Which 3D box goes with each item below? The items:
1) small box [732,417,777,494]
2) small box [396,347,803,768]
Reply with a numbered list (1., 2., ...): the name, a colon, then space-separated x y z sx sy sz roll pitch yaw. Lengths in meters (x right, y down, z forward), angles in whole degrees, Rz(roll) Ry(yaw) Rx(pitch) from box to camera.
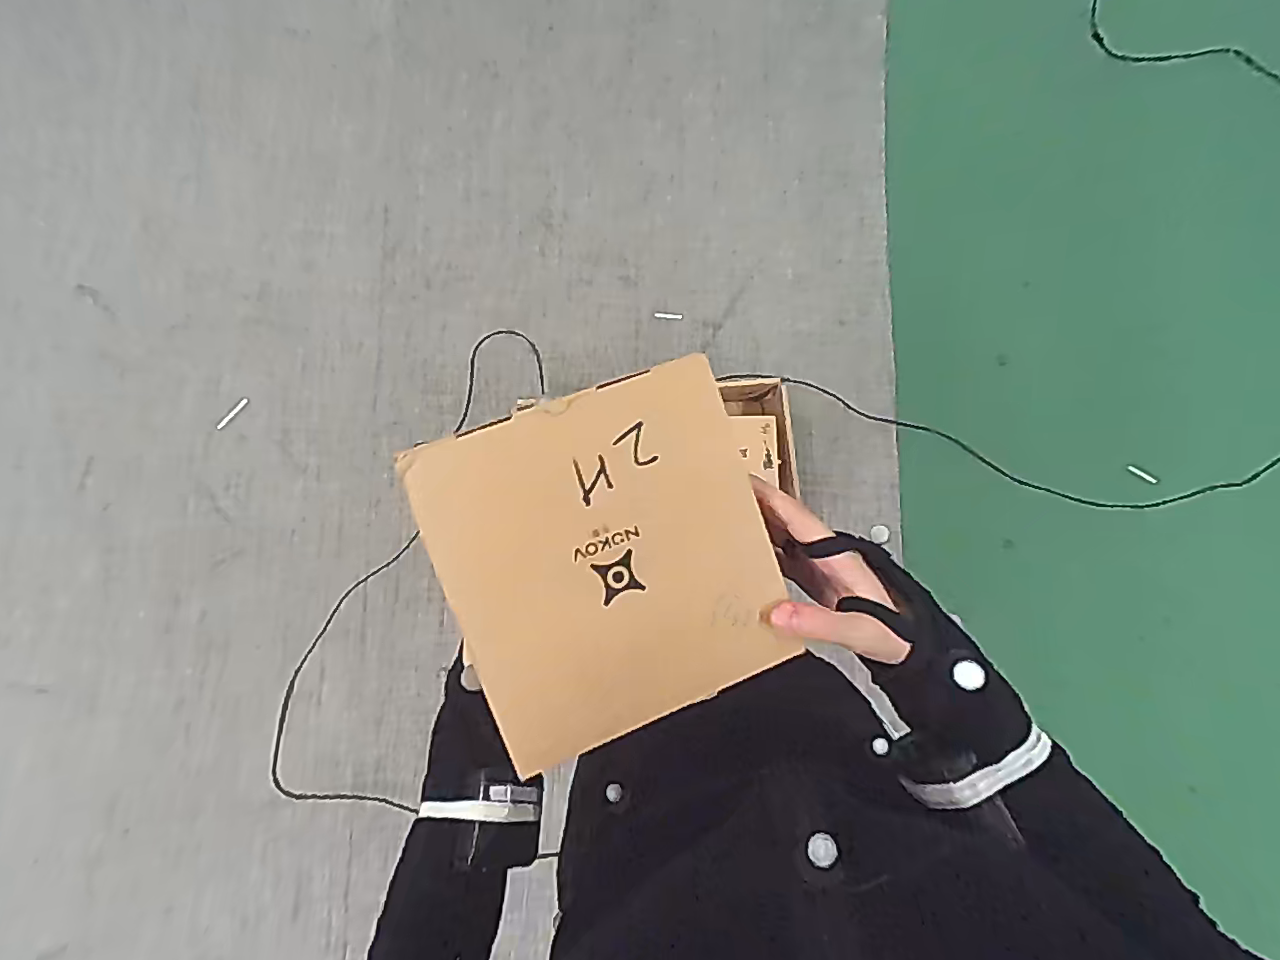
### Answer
1. small box: 0.204 -0.048 1.247 0.179 0.176 0.168 0 85 -4
2. small box: -0.028 0.035 0.352 0.168 0.176 0.179 -21 94 -11
